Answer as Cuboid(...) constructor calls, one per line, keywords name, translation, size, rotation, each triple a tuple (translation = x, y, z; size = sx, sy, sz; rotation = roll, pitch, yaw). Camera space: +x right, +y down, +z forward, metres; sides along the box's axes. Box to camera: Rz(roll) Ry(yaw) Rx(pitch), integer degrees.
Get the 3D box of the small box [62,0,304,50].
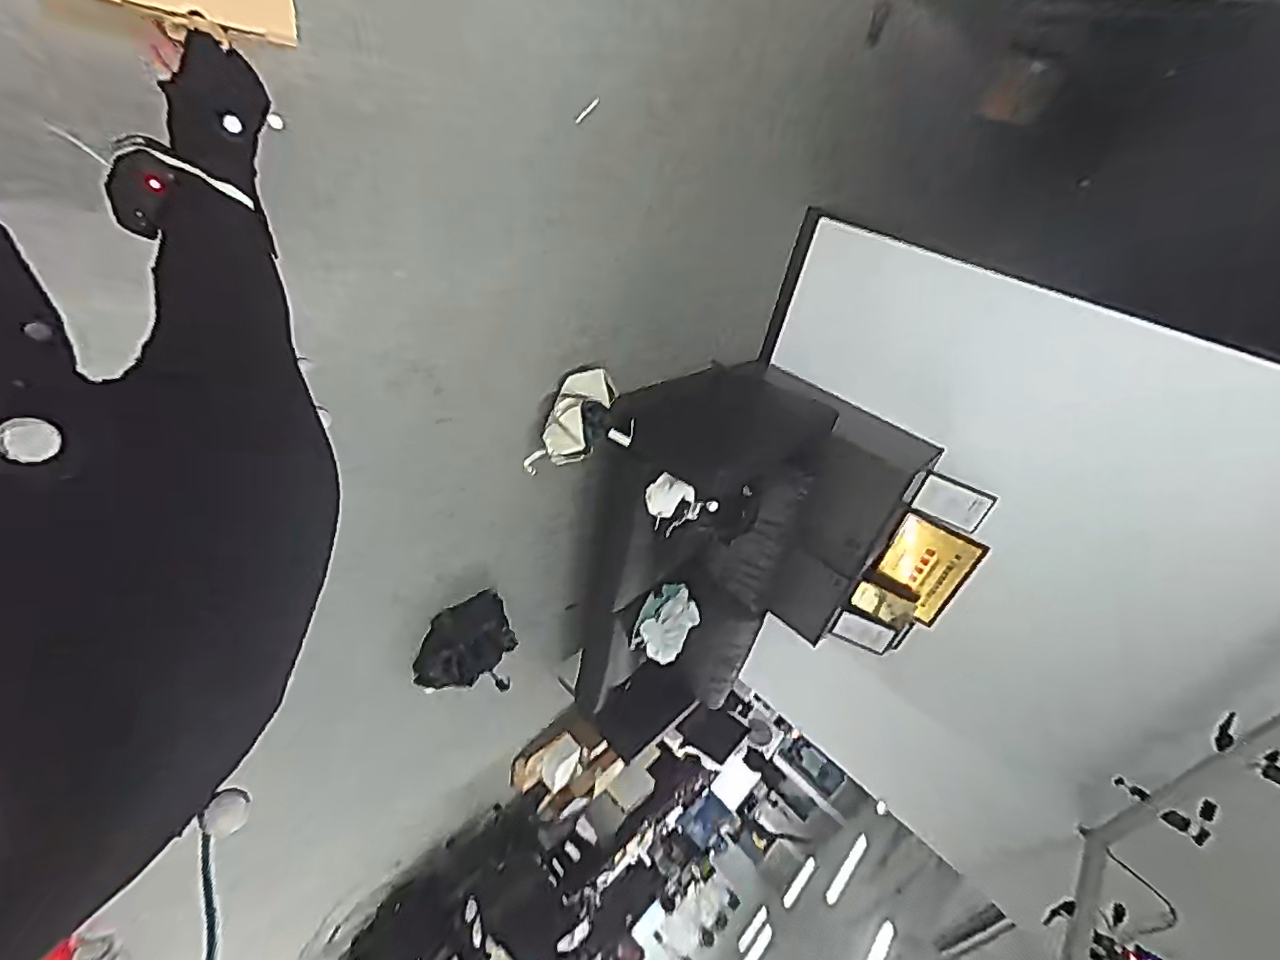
Cuboid(name="small box", translation=(-0.425, -0.503, 0.469), size=(0.168, 0.176, 0.179), rotation=(-23, 128, -44))
